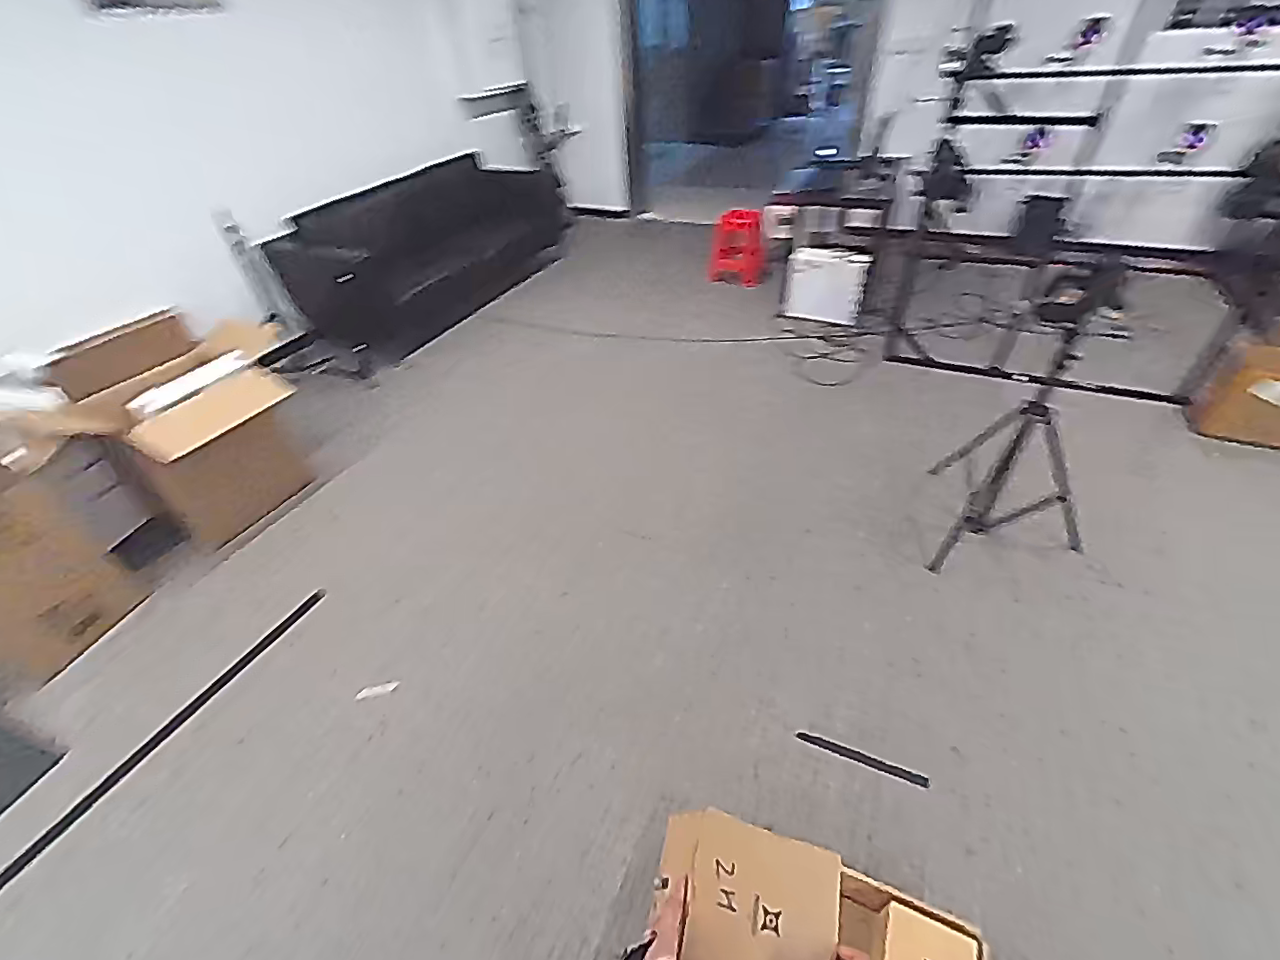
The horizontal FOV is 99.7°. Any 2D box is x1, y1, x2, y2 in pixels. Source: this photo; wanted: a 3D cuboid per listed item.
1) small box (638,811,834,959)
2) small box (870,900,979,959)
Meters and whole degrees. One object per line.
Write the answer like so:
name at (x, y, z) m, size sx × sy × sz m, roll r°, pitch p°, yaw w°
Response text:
small box at (0.112, 0.521, 0.657) m, size 0.179 × 0.176 × 0.168 m, roll 18°, pitch 54°, yaw 0°
small box at (0.571, 1.014, 1.104) m, size 0.168 × 0.176 × 0.179 m, roll 15°, pitch 47°, yaw 22°
